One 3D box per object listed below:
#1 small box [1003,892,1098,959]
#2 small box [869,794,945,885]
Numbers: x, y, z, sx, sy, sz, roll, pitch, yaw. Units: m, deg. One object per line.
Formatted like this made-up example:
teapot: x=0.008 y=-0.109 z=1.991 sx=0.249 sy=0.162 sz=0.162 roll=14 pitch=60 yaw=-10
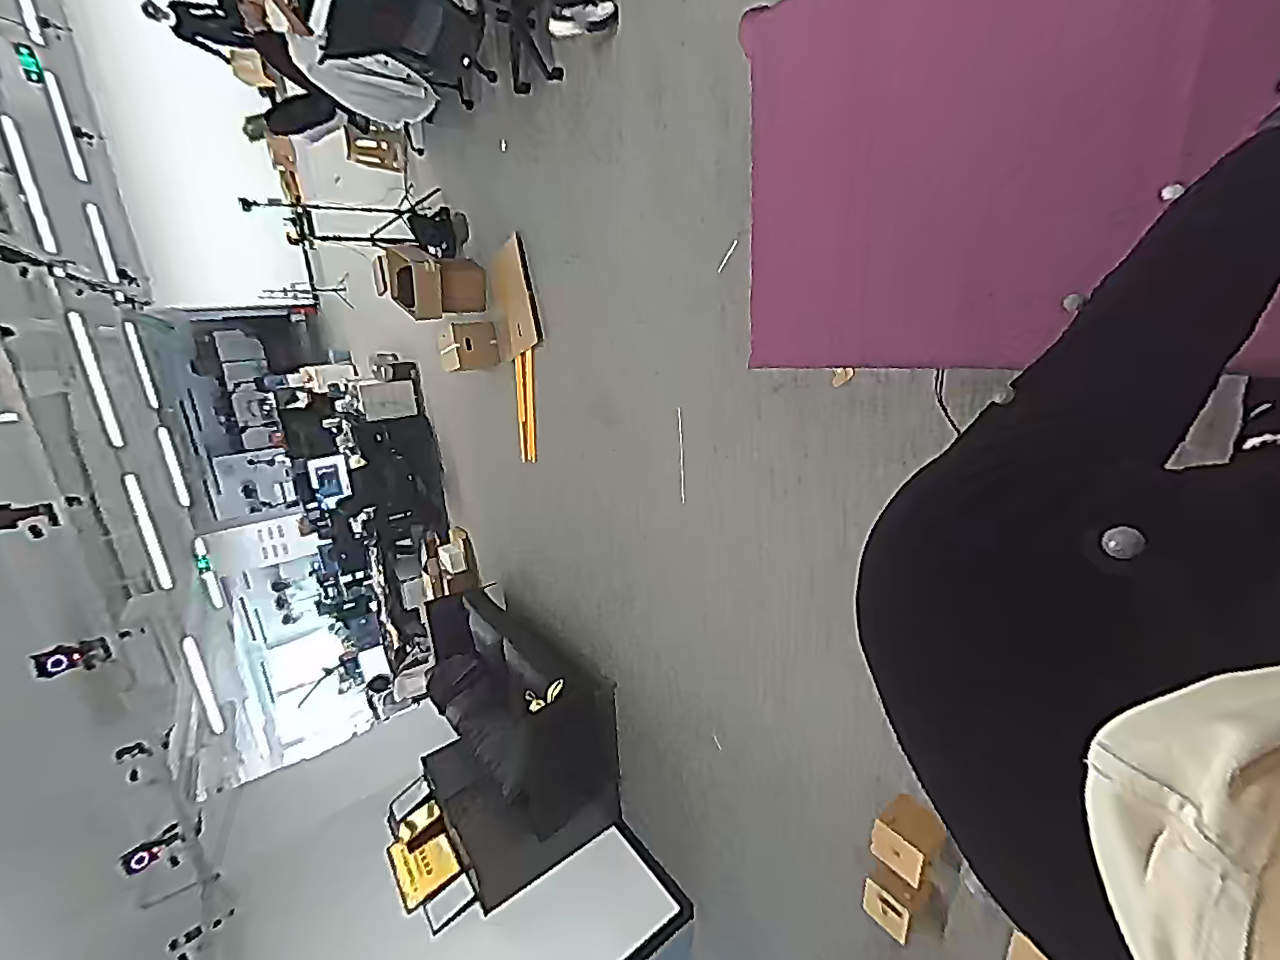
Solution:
small box: x=1.206 y=1.380 z=1.587 sx=0.168 sy=0.176 sz=0.179 roll=22 pitch=121 yaw=50
small box: x=0.948 y=1.265 z=1.918 sx=0.179 sy=0.176 sz=0.168 roll=24 pitch=122 yaw=50
